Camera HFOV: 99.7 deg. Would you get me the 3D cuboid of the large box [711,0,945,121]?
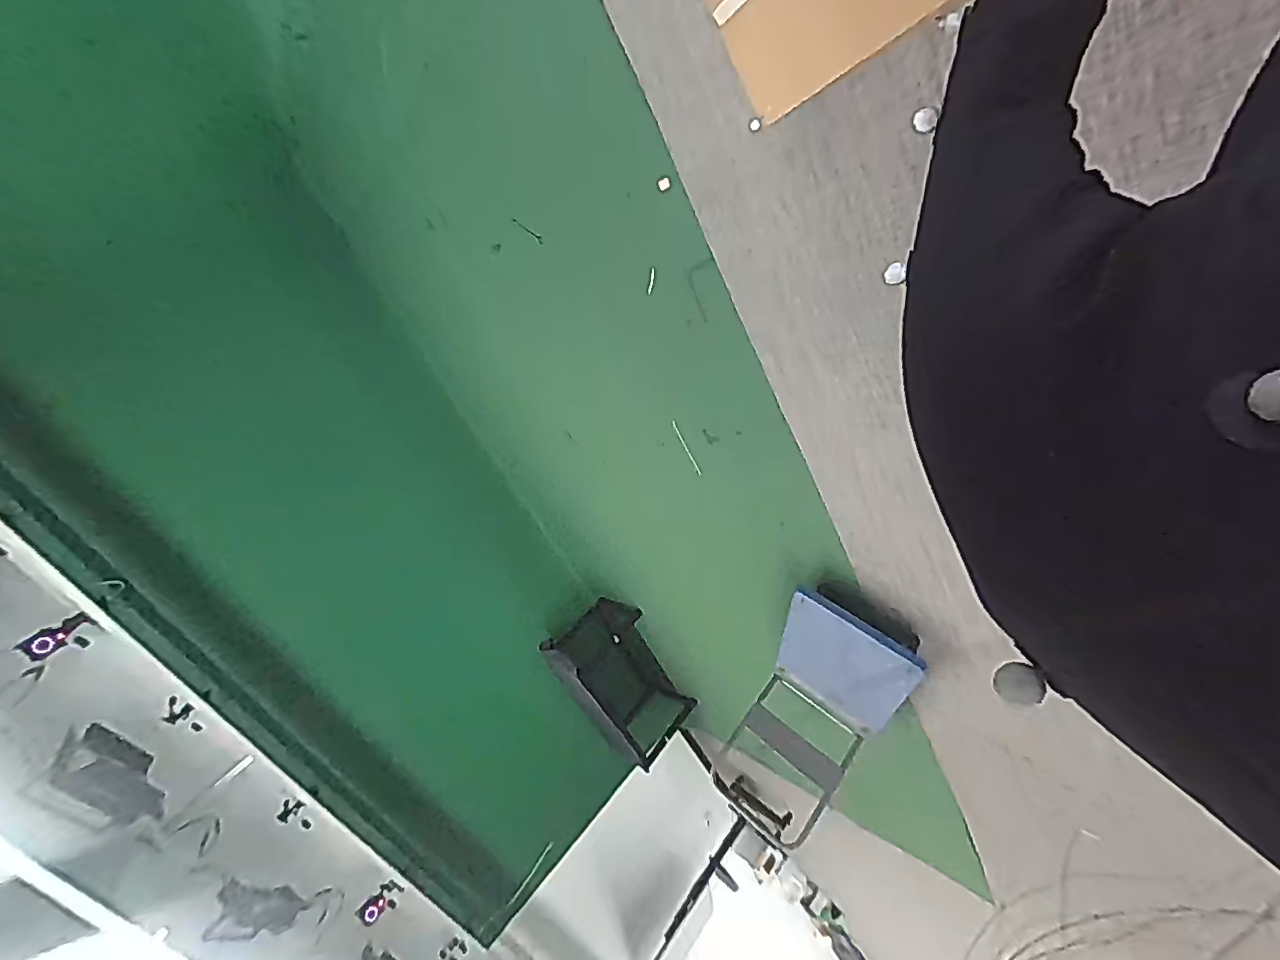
[{"bbox_3d":[0.322,-0.763,0.678,0.408,0.320,0.320,4,132,56],"label":"large box"}]
